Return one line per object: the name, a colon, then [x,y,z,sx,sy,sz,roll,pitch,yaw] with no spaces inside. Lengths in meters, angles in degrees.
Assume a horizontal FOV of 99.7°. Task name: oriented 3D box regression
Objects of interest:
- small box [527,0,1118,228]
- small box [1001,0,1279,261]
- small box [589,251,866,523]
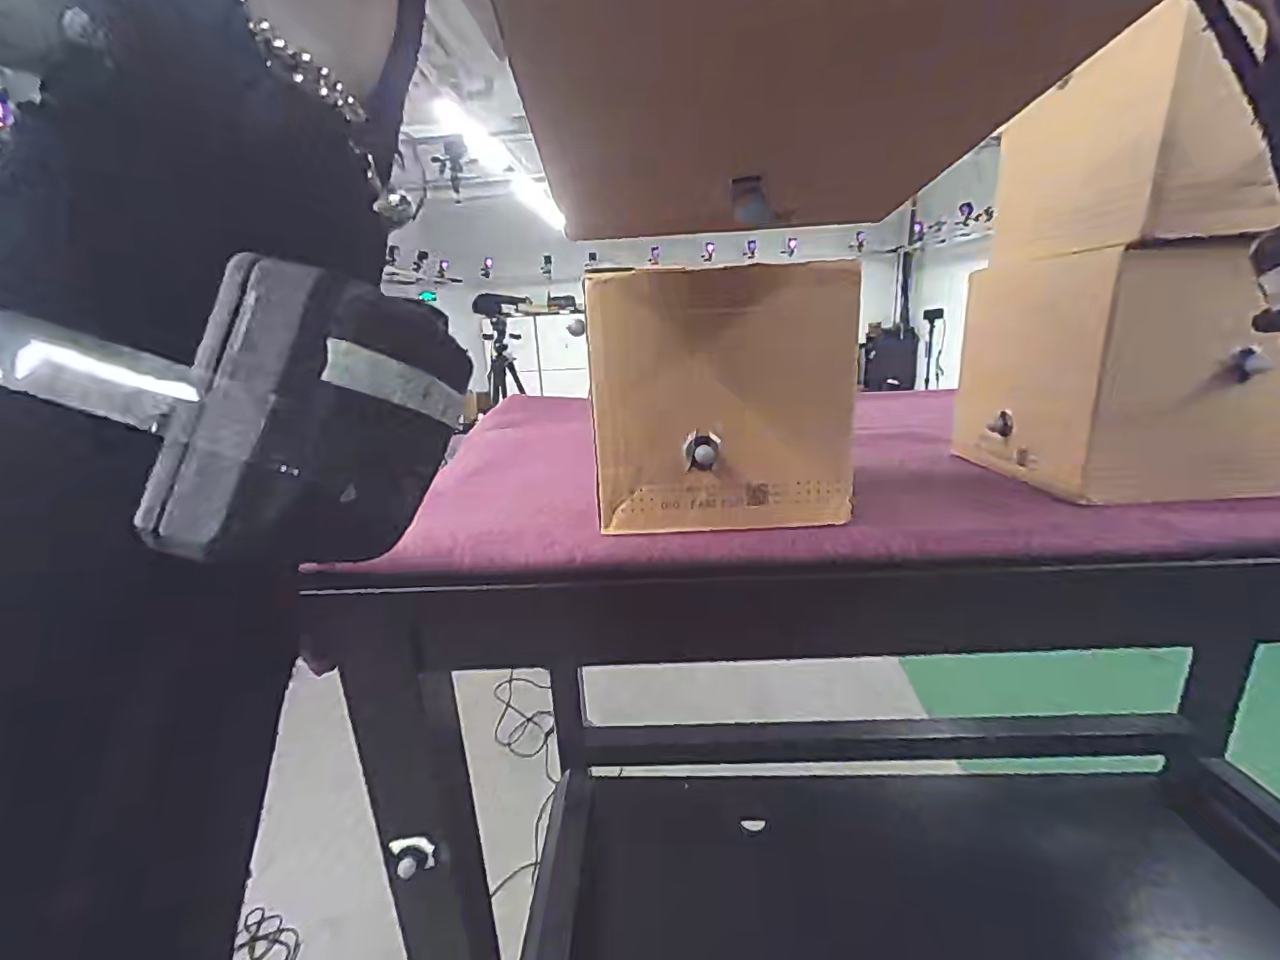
small box: [0.043,-0.214,0.192,0.168,0.179,0.176,-4,5,0]
small box: [0.375,-0.246,0.360,0.168,0.176,0.179,-2,16,7]
small box: [0.052,-0.071,0.415,0.168,0.176,0.179,-3,15,0]
